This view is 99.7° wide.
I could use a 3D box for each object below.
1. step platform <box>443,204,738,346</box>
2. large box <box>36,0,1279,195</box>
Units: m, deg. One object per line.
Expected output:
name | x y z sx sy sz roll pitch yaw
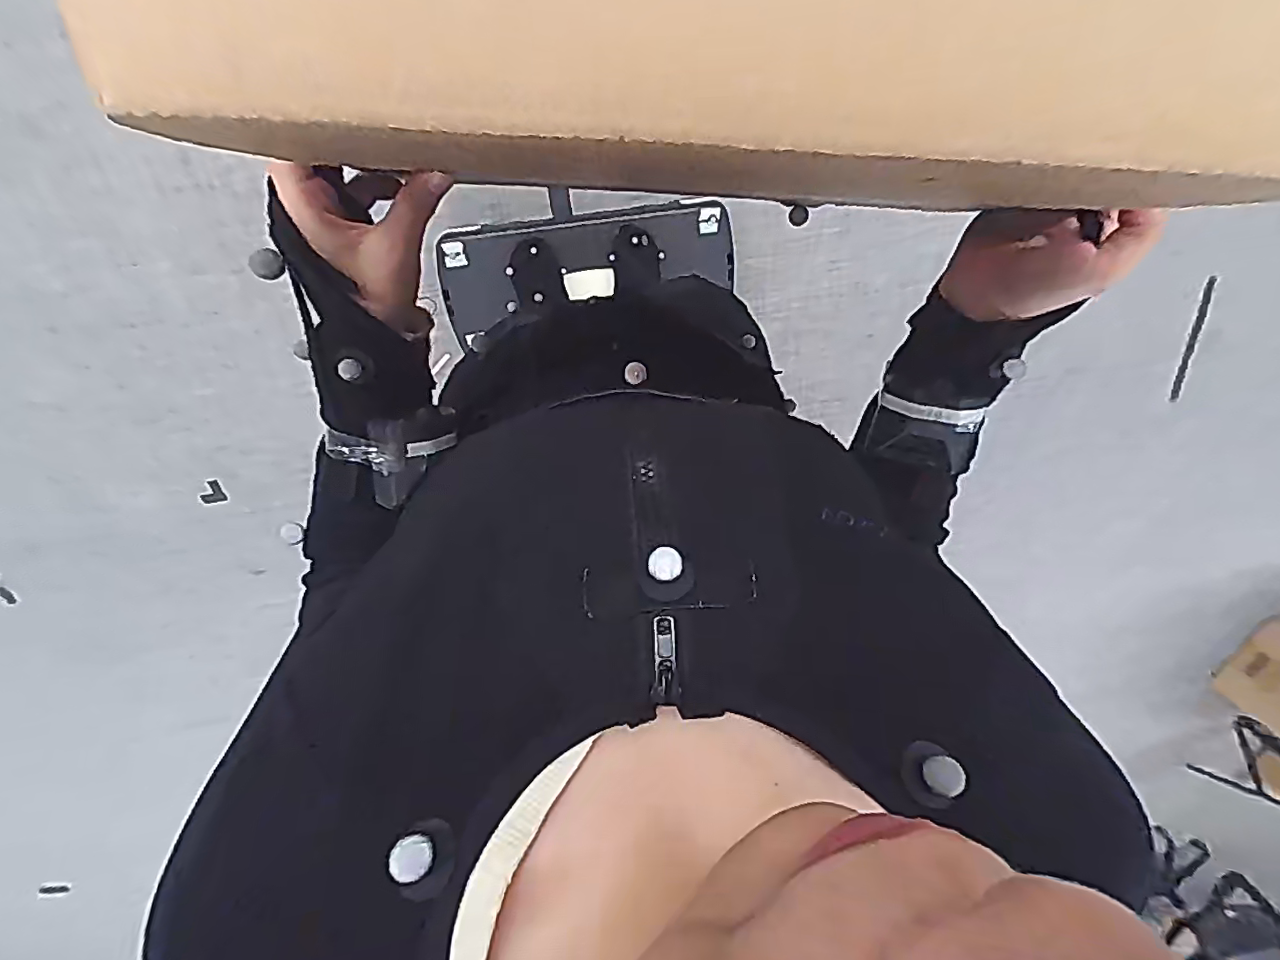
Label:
step platform | -0.112 -0.495 1.301 0.684 0.204 0.286 -5 119 -5
large box | 0.031 -0.306 0.227 0.408 0.320 0.320 1 117 -1
